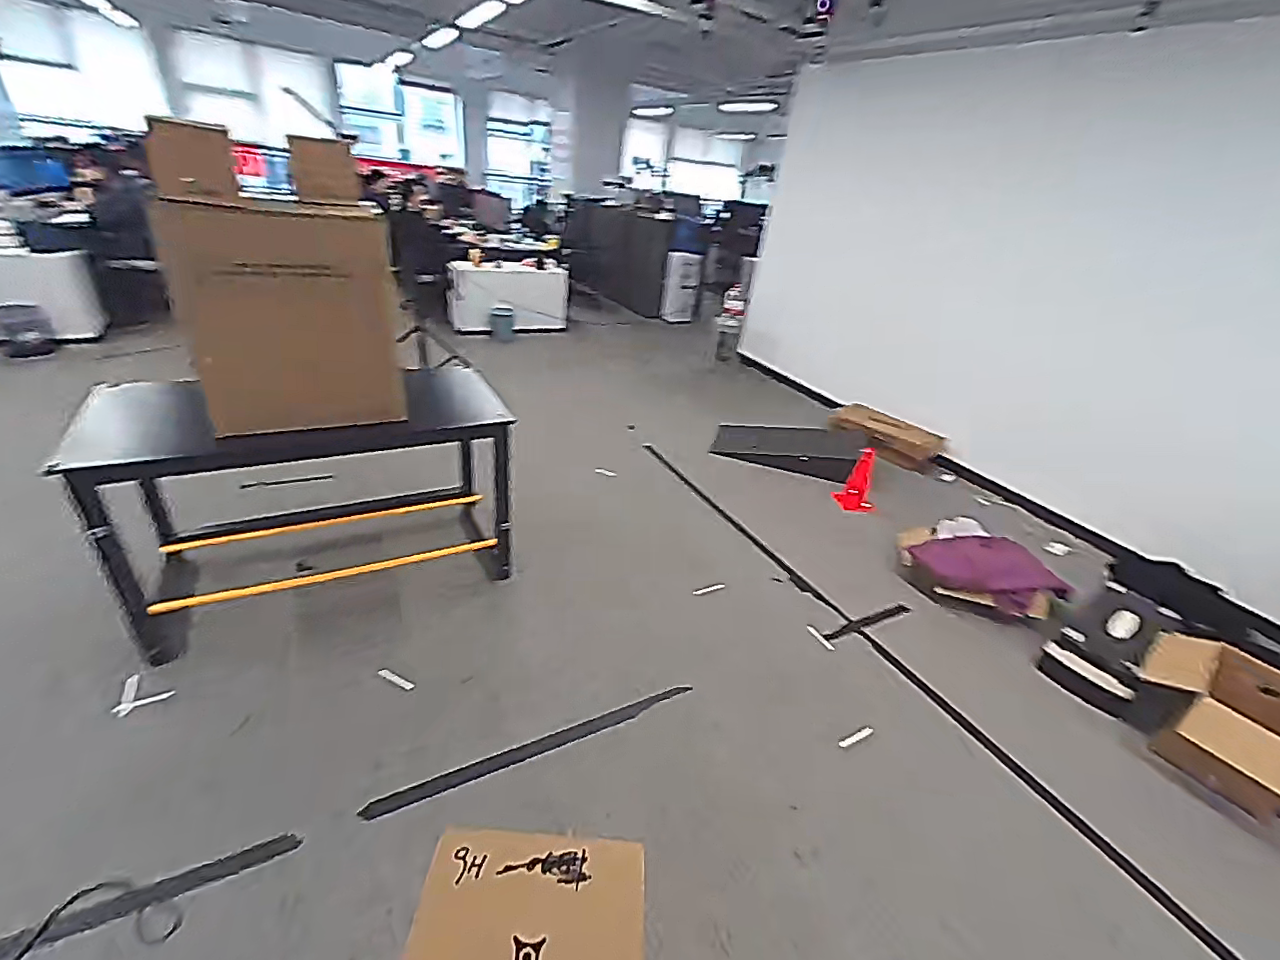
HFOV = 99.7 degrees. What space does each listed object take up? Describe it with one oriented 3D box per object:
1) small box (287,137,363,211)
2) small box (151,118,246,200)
[{"bbox_3d":[-0.930,-0.903,1.597,0.168,0.176,0.179,-13,34,-30],"label":"small box"},{"bbox_3d":[-1.199,-0.873,1.481,0.168,0.176,0.179,-11,32,-30],"label":"small box"}]
